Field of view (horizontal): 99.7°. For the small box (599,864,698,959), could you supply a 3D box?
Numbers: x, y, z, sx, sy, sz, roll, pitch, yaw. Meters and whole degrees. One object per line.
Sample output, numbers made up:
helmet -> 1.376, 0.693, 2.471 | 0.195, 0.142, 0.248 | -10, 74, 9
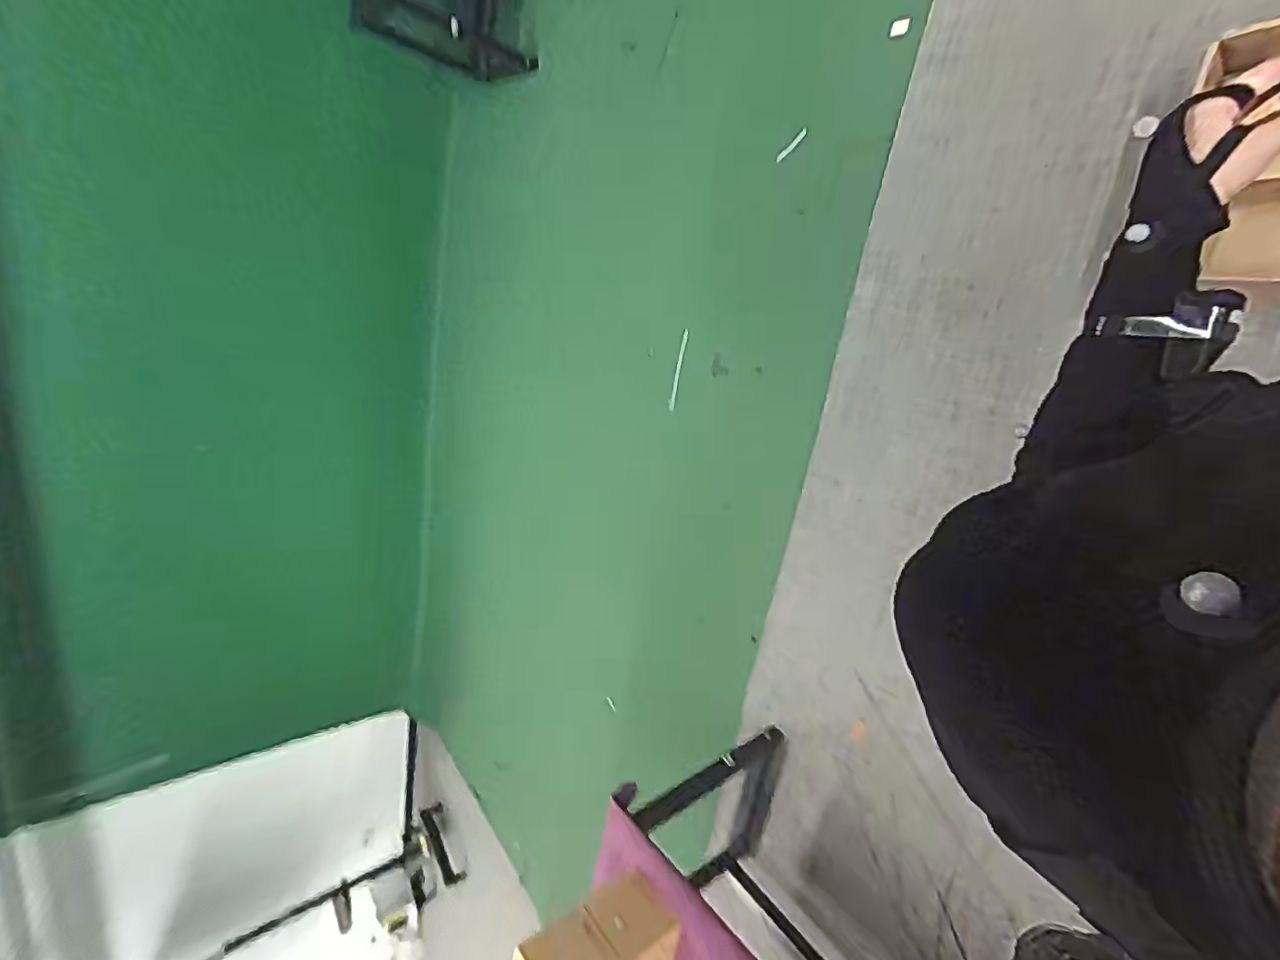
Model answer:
small box -> 0.007, 1.052, 1.271 | 0.179, 0.176, 0.168 | 26, 112, 45

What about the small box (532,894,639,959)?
small box -> -0.120, 1.064, 1.168 | 0.168, 0.176, 0.179 | 26, 113, 44

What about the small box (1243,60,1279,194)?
small box -> 1.105, -0.567, 0.849 | 0.179, 0.176, 0.168 | 20, 111, 46
